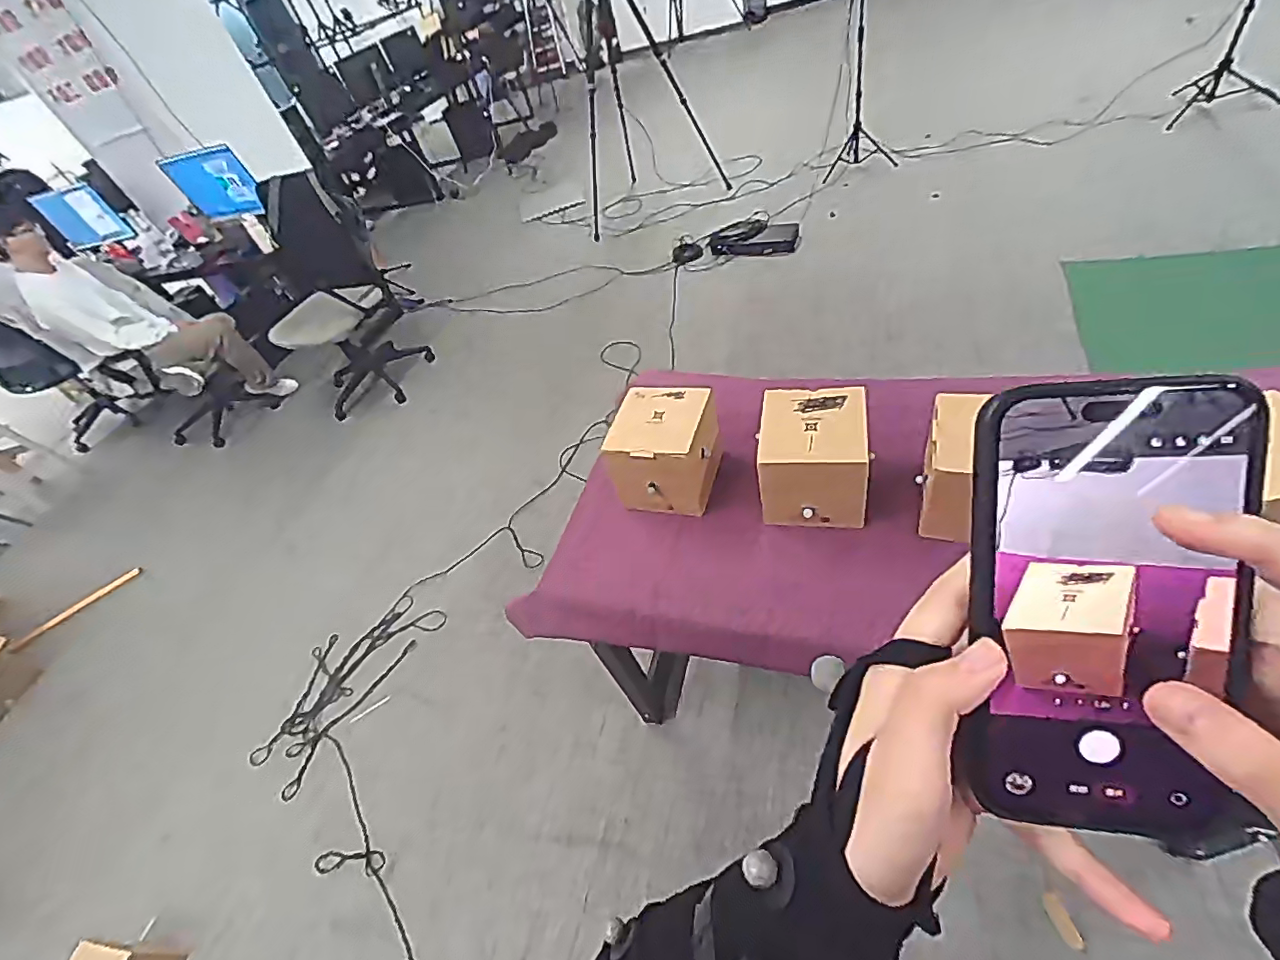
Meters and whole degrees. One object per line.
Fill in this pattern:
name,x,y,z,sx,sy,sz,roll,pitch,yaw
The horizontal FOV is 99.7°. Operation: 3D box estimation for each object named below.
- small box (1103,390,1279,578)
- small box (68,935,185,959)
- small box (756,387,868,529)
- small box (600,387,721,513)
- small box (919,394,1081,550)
small box,0.769,0.011,0.720,0.179,0.176,0.168,-12,45,9
small box,-1.277,1.228,1.311,0.179,0.176,0.168,-3,48,17
small box,0.297,-0.038,0.929,0.168,0.176,0.179,1,50,20
small box,0.050,-0.057,1.032,0.168,0.176,0.179,5,51,23
small box,0.534,-0.012,0.825,0.179,0.176,0.168,7,52,24
